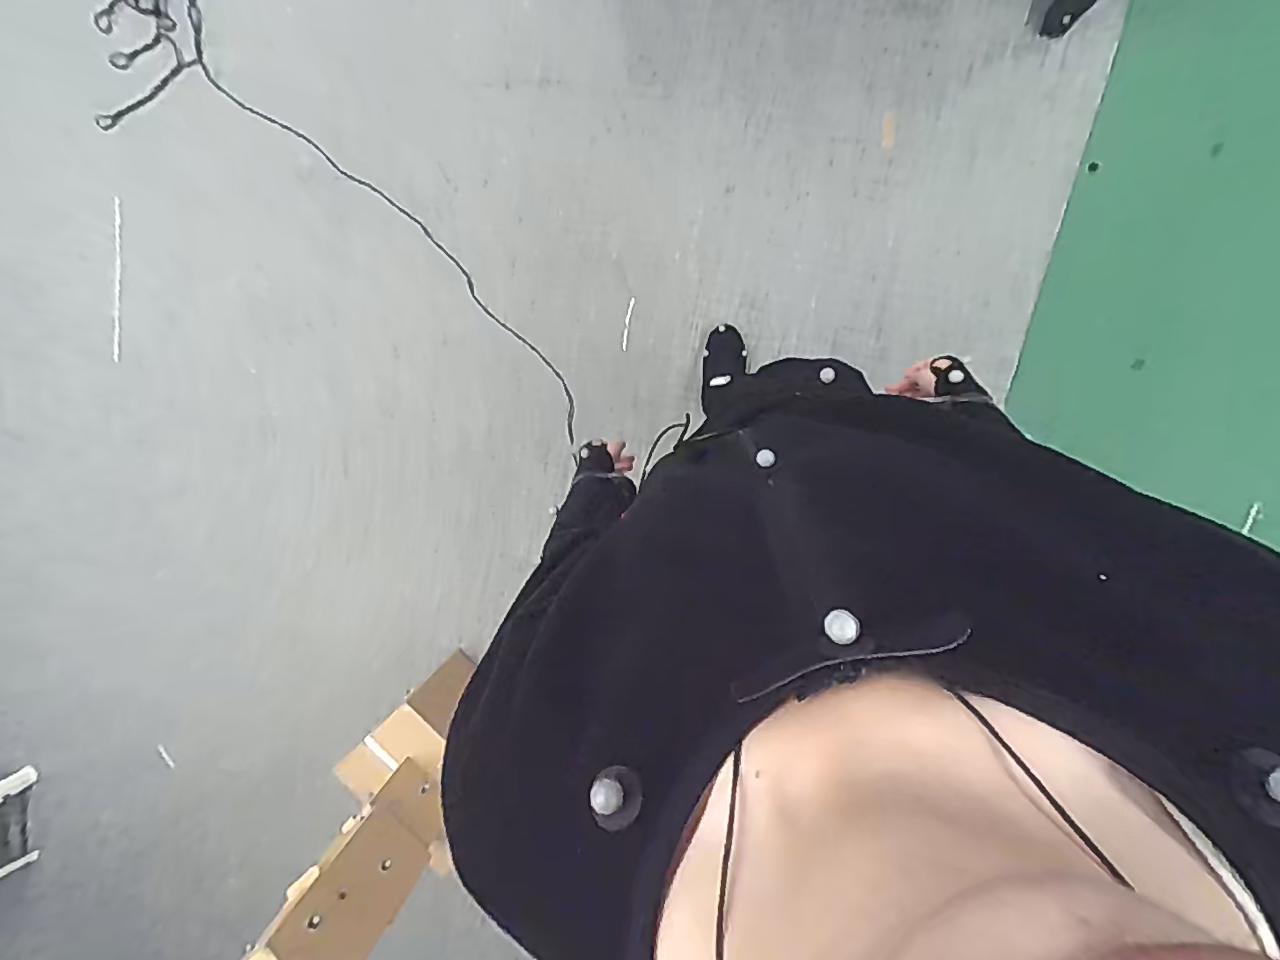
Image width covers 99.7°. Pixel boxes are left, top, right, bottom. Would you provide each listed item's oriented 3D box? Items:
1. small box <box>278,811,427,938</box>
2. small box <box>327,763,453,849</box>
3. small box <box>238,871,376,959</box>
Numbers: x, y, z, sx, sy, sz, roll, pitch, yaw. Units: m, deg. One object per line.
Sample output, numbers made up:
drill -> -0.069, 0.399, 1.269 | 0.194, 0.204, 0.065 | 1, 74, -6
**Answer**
small box -> -0.593, 0.842, 1.137 | 0.168, 0.176, 0.179 | -44, 93, 11
small box -> -0.593, 0.821, 1.301 | 0.179, 0.176, 0.168 | 42, 102, -1
small box -> -0.616, 0.867, 0.978 | 0.168, 0.176, 0.179 | 43, 101, -2
